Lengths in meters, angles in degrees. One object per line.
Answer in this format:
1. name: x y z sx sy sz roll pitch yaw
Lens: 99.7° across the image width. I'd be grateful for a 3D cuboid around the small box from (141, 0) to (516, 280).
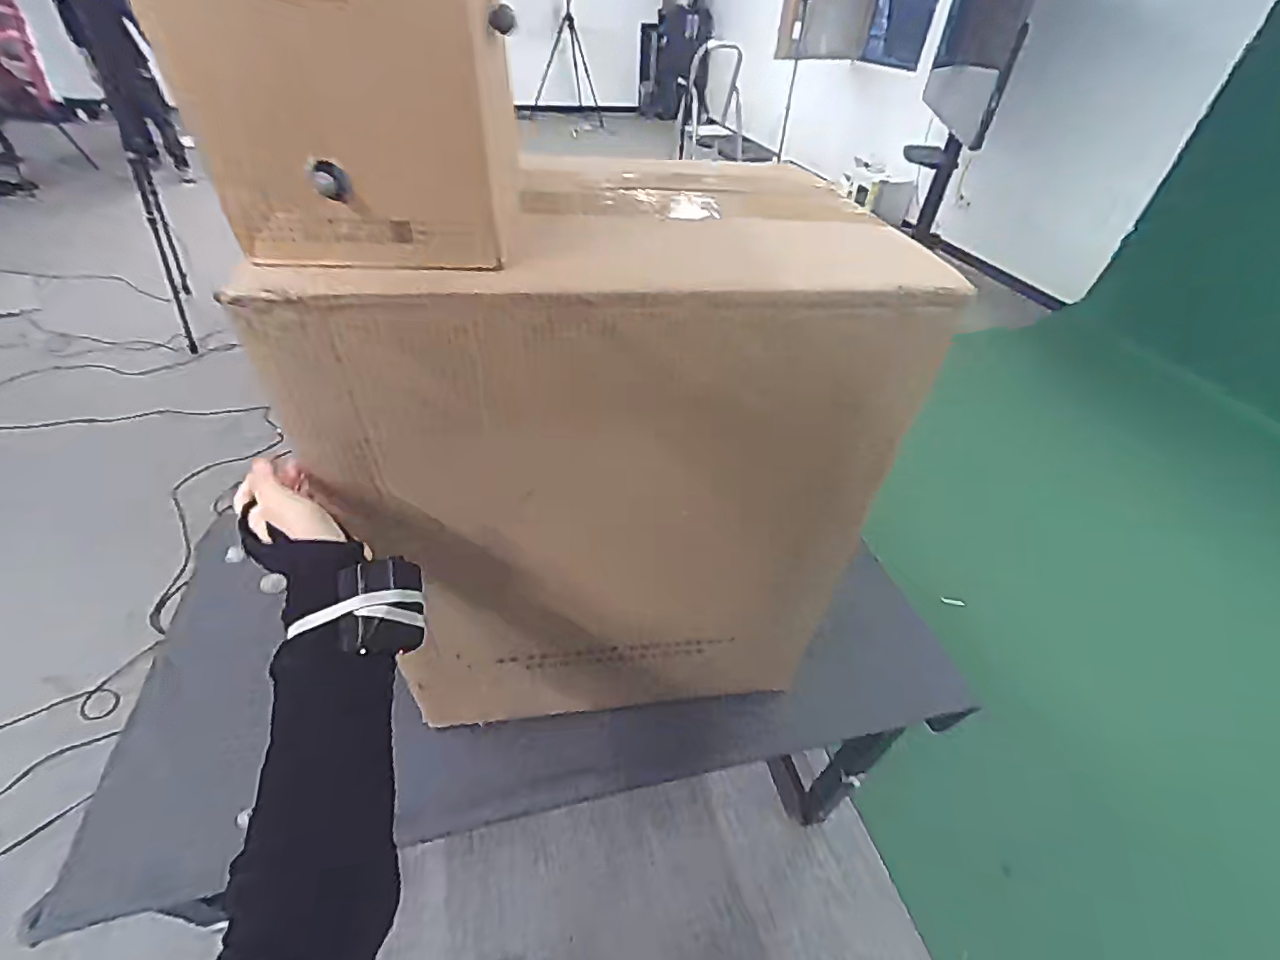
1. small box: -0.177 -0.254 0.362 0.168 0.176 0.179 -1 46 -6
